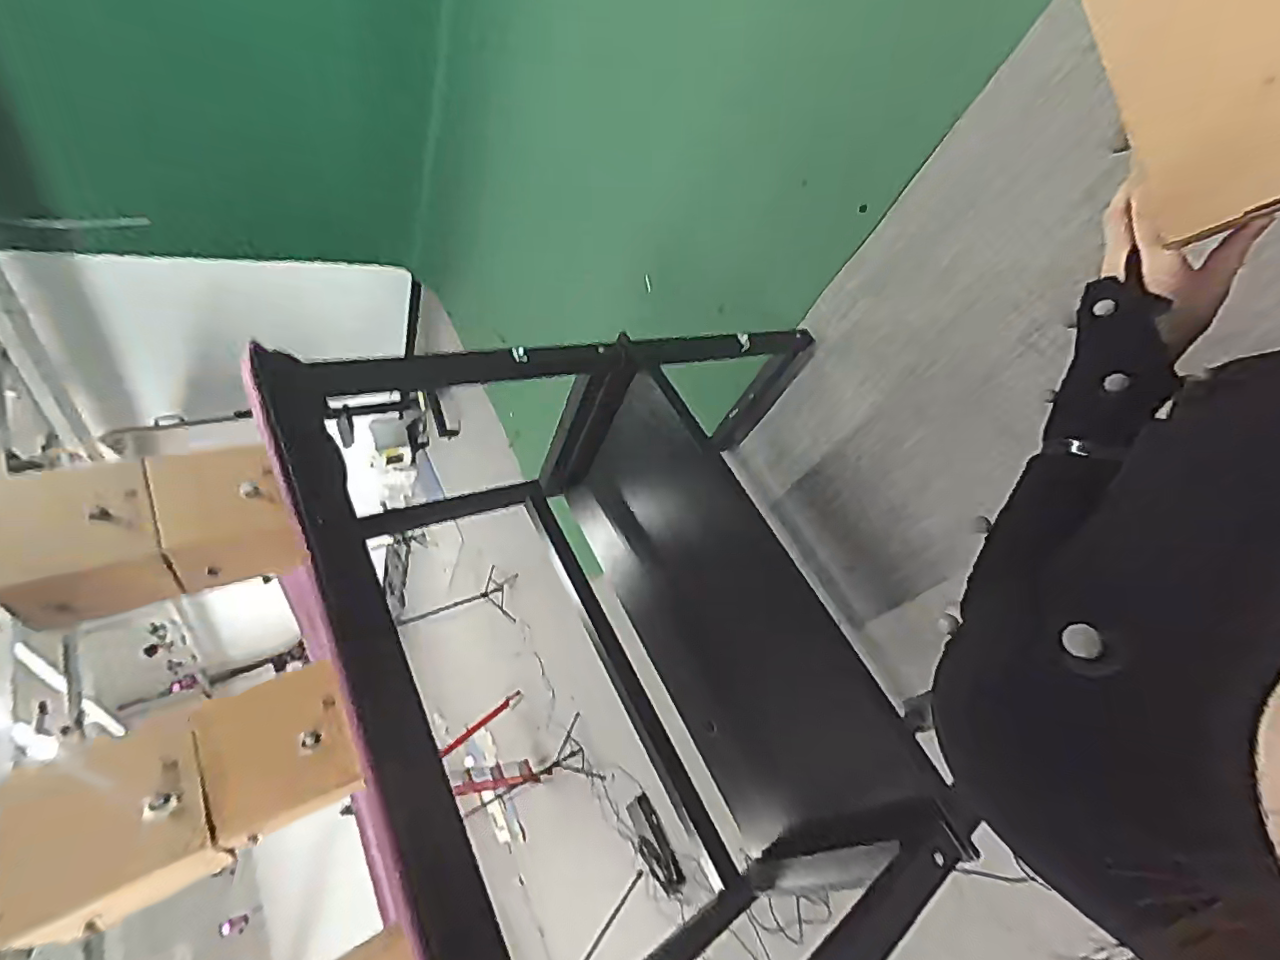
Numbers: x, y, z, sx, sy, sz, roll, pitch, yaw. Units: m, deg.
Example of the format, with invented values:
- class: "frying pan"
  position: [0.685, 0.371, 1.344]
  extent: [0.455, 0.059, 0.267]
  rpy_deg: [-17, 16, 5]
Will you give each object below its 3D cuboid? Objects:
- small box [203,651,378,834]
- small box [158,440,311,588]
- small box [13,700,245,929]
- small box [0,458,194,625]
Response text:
- class: "small box"
  position: [-0.477, 0.364, 0.756]
  extent: [0.168, 0.176, 0.179]
  rpy_deg: [62, 143, 19]
- class: "small box"
  position: [-0.659, 0.054, 0.896]
  extent: [0.168, 0.176, 0.179]
  rpy_deg: [62, 142, 18]
- class: "small box"
  position: [-0.602, 0.400, 0.659]
  extent: [0.168, 0.176, 0.179]
  rpy_deg: [57, 140, 23]
- class: "small box"
  position: [-0.791, 0.088, 0.802]
  extent: [0.168, 0.176, 0.179]
  rpy_deg: [61, 142, 18]
